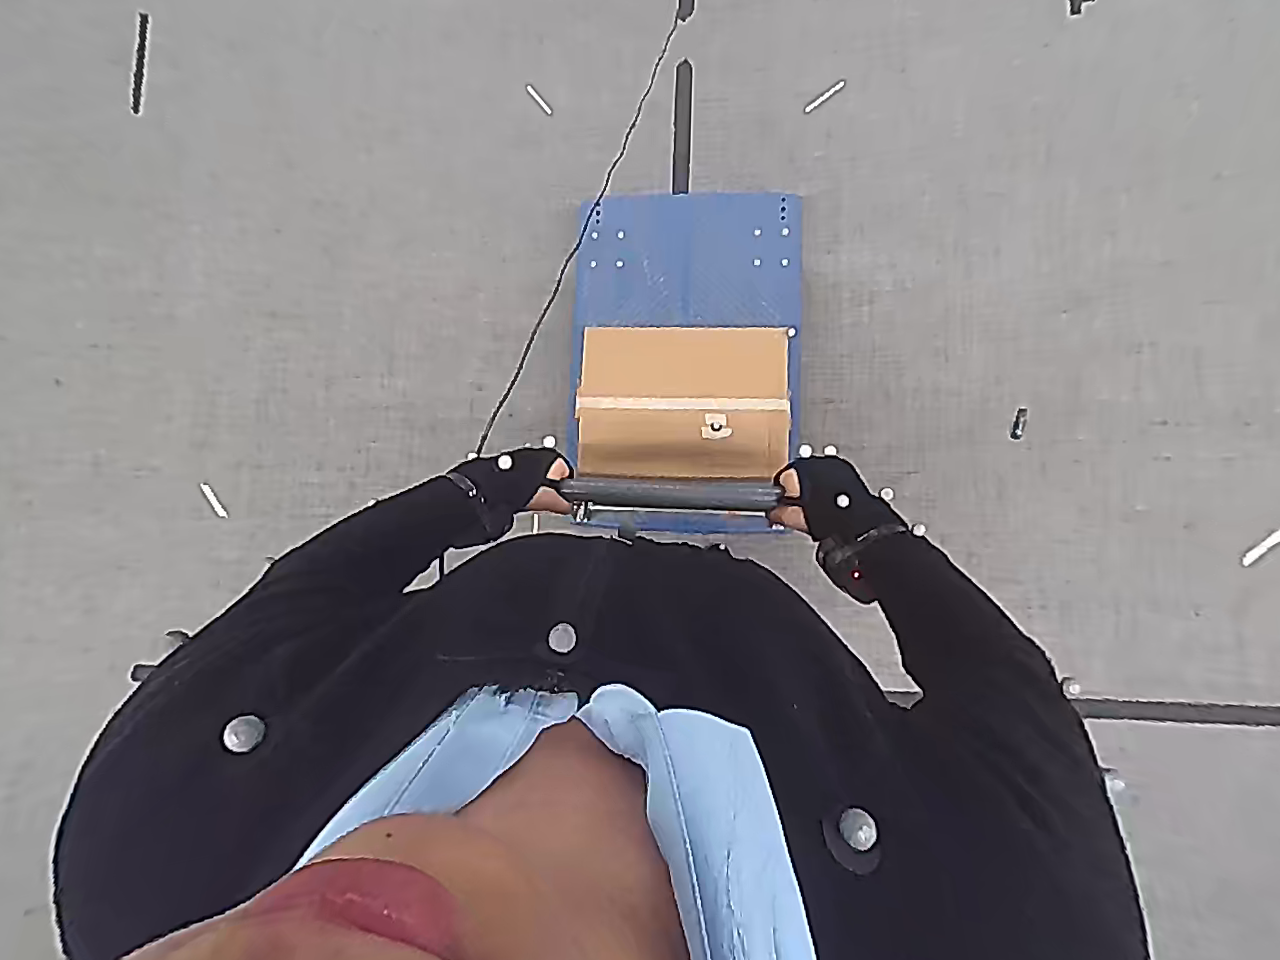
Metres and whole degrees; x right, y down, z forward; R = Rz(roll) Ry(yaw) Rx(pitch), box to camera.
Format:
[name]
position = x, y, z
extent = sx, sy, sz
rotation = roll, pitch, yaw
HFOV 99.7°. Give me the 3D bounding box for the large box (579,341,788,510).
[large box]
position = 0.093, -0.101, 1.189
extent = 0.408, 0.320, 0.320
rotation = 2, 83, 5
